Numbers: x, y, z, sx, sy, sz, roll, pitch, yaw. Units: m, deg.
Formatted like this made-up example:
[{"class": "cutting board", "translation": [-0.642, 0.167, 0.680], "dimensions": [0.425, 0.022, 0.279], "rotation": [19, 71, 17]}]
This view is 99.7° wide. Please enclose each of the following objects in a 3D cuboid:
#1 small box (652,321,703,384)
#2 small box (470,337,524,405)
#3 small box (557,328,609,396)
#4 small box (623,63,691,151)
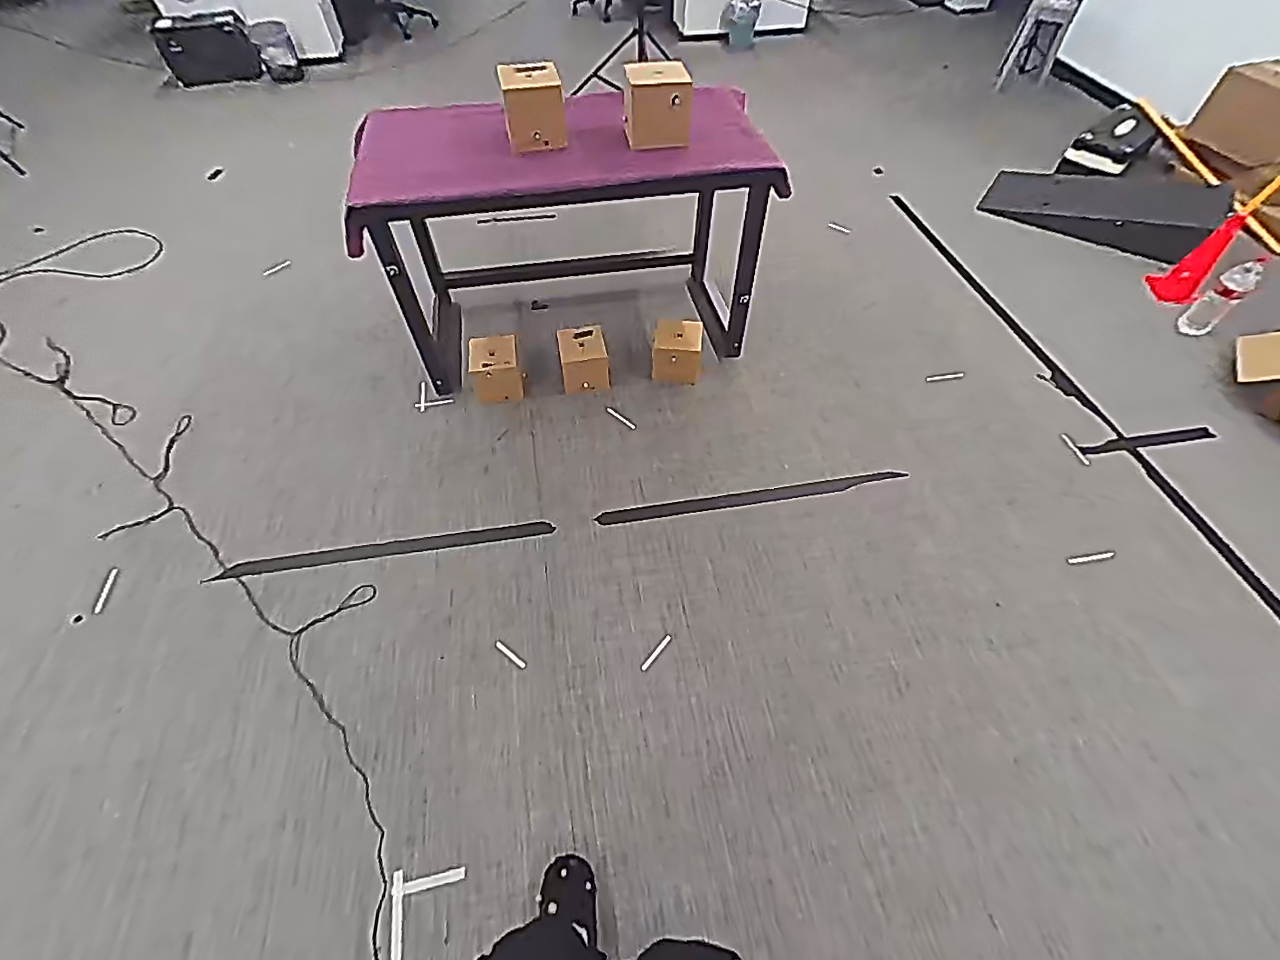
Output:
[{"class": "small box", "translation": [0.141, -0.481, 2.054], "dimensions": [0.179, 0.176, 0.168], "rotation": [4, 55, 5]}, {"class": "small box", "translation": [-0.526, -0.400, 1.997], "dimensions": [0.168, 0.176, 0.179], "rotation": [-8, 54, -6]}, {"class": "small box", "translation": [-0.212, -0.441, 2.024], "dimensions": [0.168, 0.176, 0.179], "rotation": [-10, 56, -6]}, {"class": "small box", "translation": [0.046, -1.102, 1.601], "dimensions": [0.179, 0.176, 0.168], "rotation": [-8, 54, -5]}]
